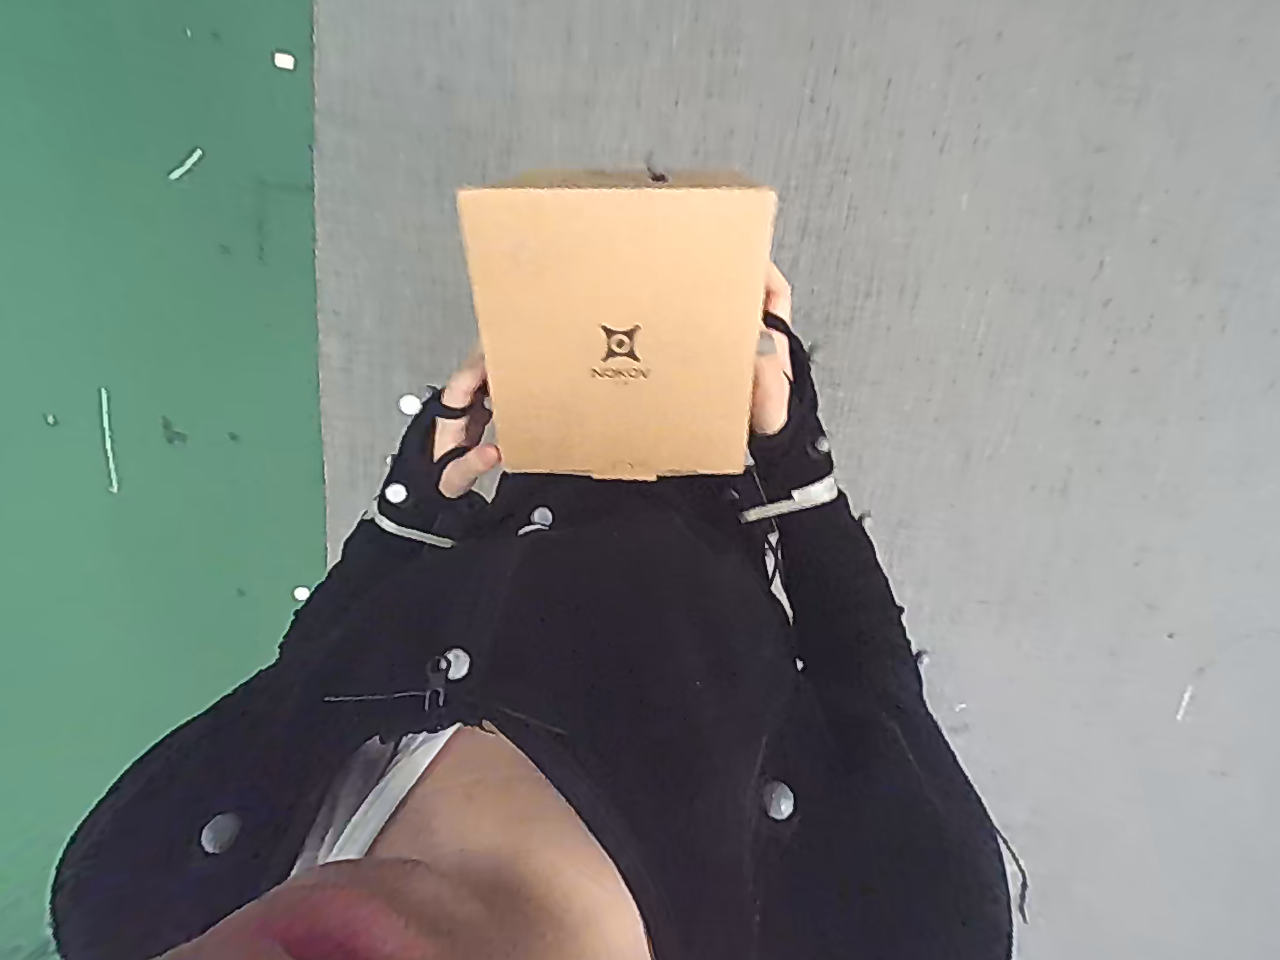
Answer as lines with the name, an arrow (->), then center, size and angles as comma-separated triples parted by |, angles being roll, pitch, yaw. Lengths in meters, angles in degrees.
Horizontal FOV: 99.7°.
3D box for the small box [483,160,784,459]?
small box -> -0.005, -0.133, 0.399 | 0.168, 0.176, 0.179 | -1, 124, 0
